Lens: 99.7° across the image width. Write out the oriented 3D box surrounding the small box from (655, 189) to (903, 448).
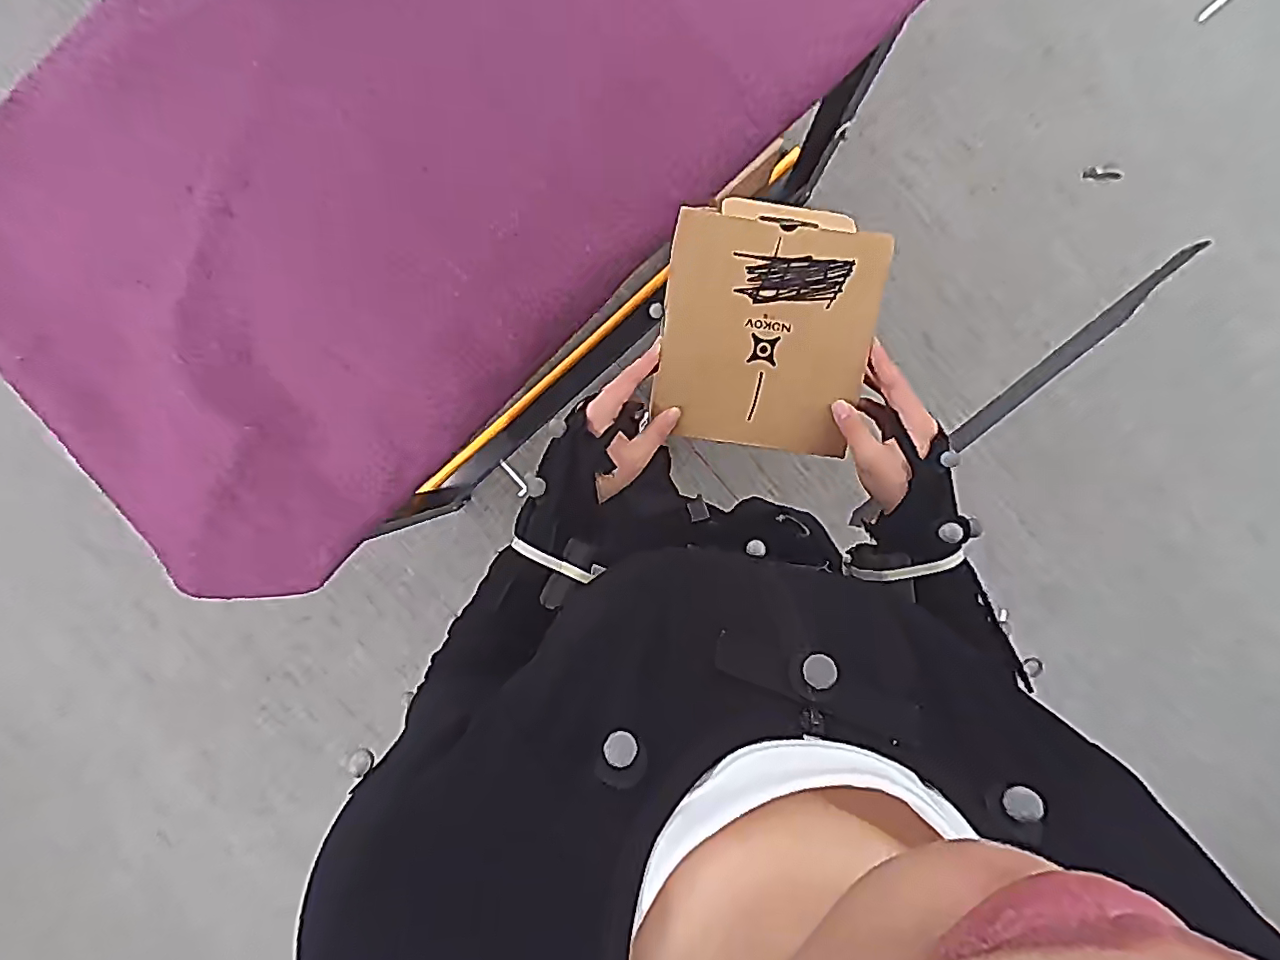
[{"bbox_3d":[0.106,-0.138,0.495,0.168,0.176,0.179,8,104,-1],"label":"small box"}]
